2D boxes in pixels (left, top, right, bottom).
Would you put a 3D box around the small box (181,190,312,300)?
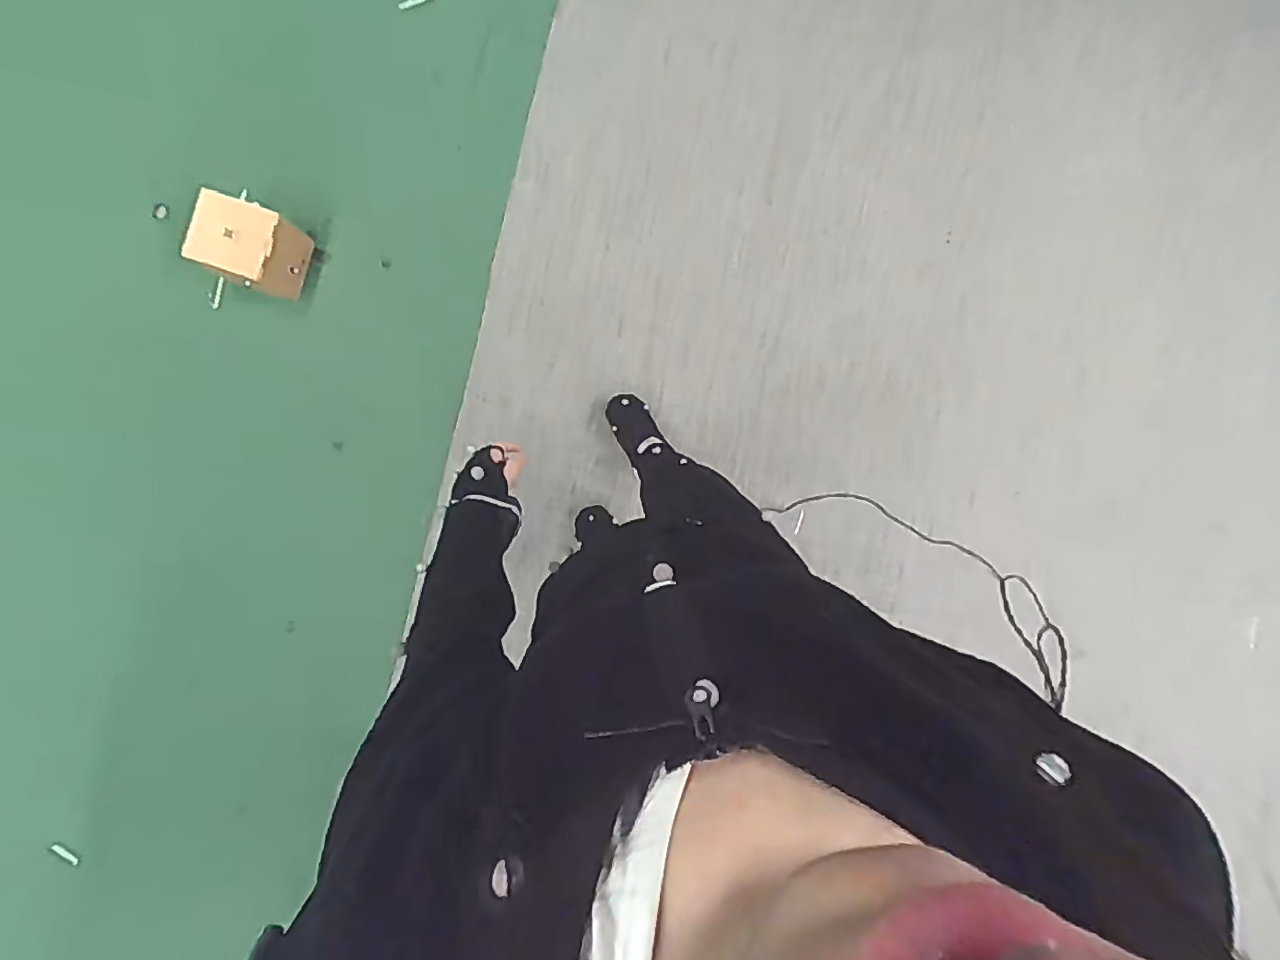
[{"bbox_3d":[-0.946,-0.560,1.315,0.179,0.176,0.168,17,90,-6],"label":"small box"}]
